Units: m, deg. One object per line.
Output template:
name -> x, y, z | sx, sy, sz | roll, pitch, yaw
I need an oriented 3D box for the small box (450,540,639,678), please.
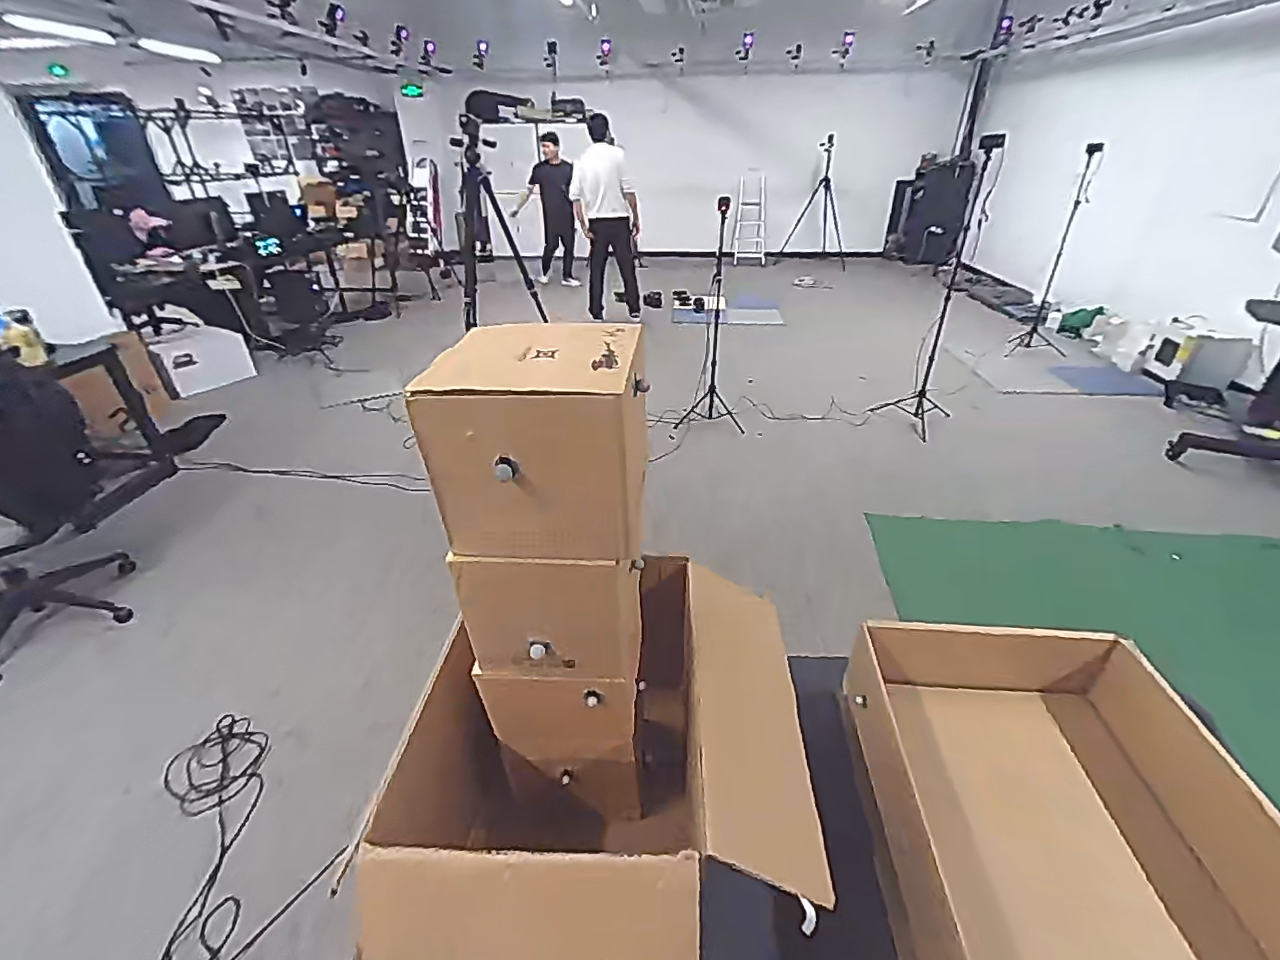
small box -> -0.090, 0.096, 0.615 | 0.168, 0.176, 0.179 | 1, 35, 5

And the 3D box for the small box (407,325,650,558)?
small box -> -0.086, -0.039, 0.522 | 0.179, 0.176, 0.168 | 0, 35, 6
